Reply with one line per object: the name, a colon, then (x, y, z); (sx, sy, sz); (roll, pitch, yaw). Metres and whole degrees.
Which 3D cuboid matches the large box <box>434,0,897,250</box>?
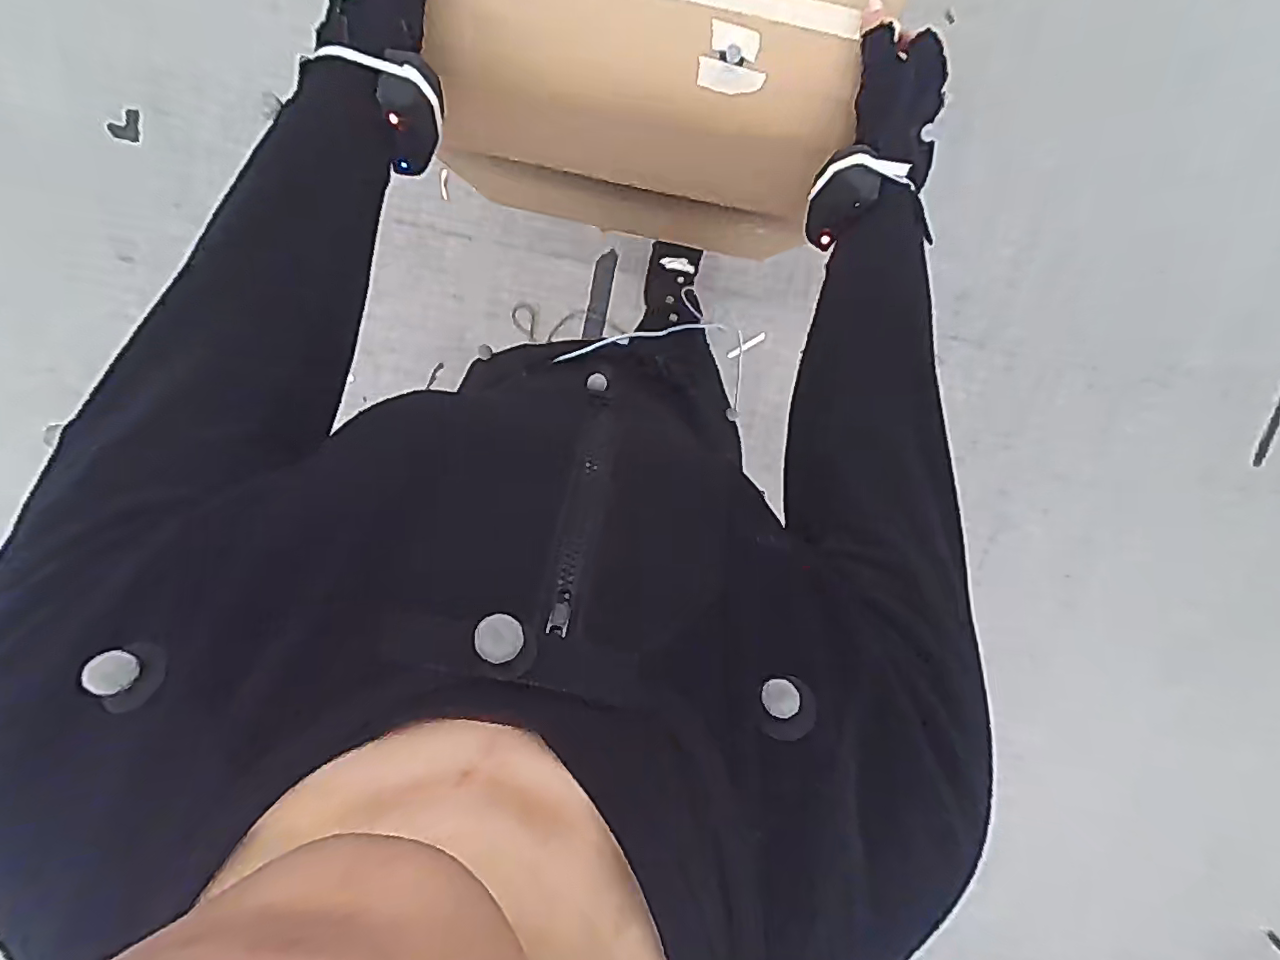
large box: (0.020, -0.472, 0.613); (0.408, 0.320, 0.320); (9, 108, -6)
